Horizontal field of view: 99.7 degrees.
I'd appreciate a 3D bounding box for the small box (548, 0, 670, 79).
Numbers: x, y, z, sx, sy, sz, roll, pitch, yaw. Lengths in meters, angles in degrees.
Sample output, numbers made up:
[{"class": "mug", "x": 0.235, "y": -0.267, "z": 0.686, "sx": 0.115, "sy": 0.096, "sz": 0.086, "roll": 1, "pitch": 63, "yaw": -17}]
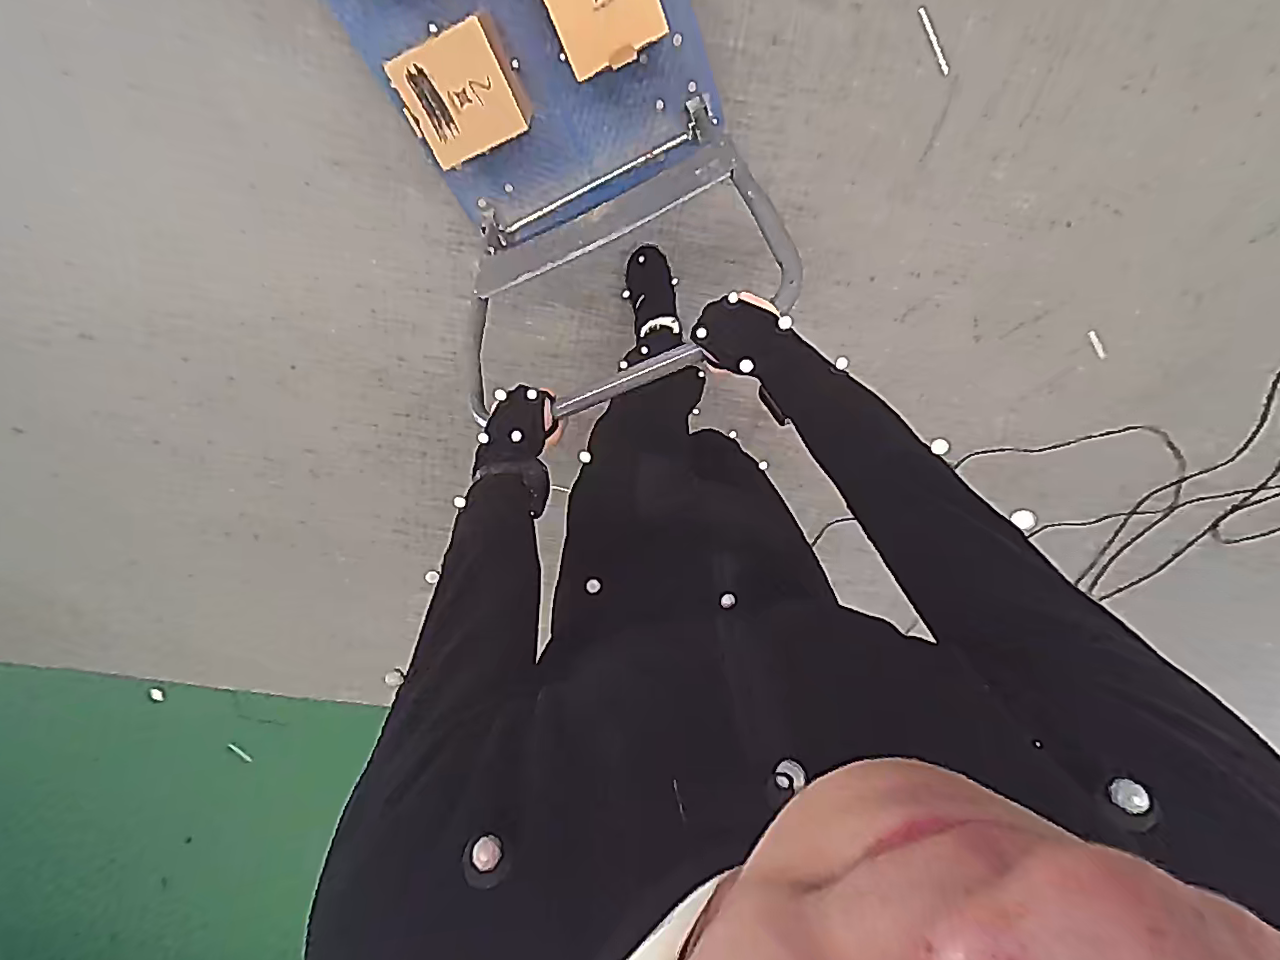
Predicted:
[{"class": "small box", "x": -0.066, "y": -0.804, "z": 0.885, "sx": 0.168, "sy": 0.176, "sz": 0.179, "roll": -21, "pitch": 134, "yaw": 13}]
